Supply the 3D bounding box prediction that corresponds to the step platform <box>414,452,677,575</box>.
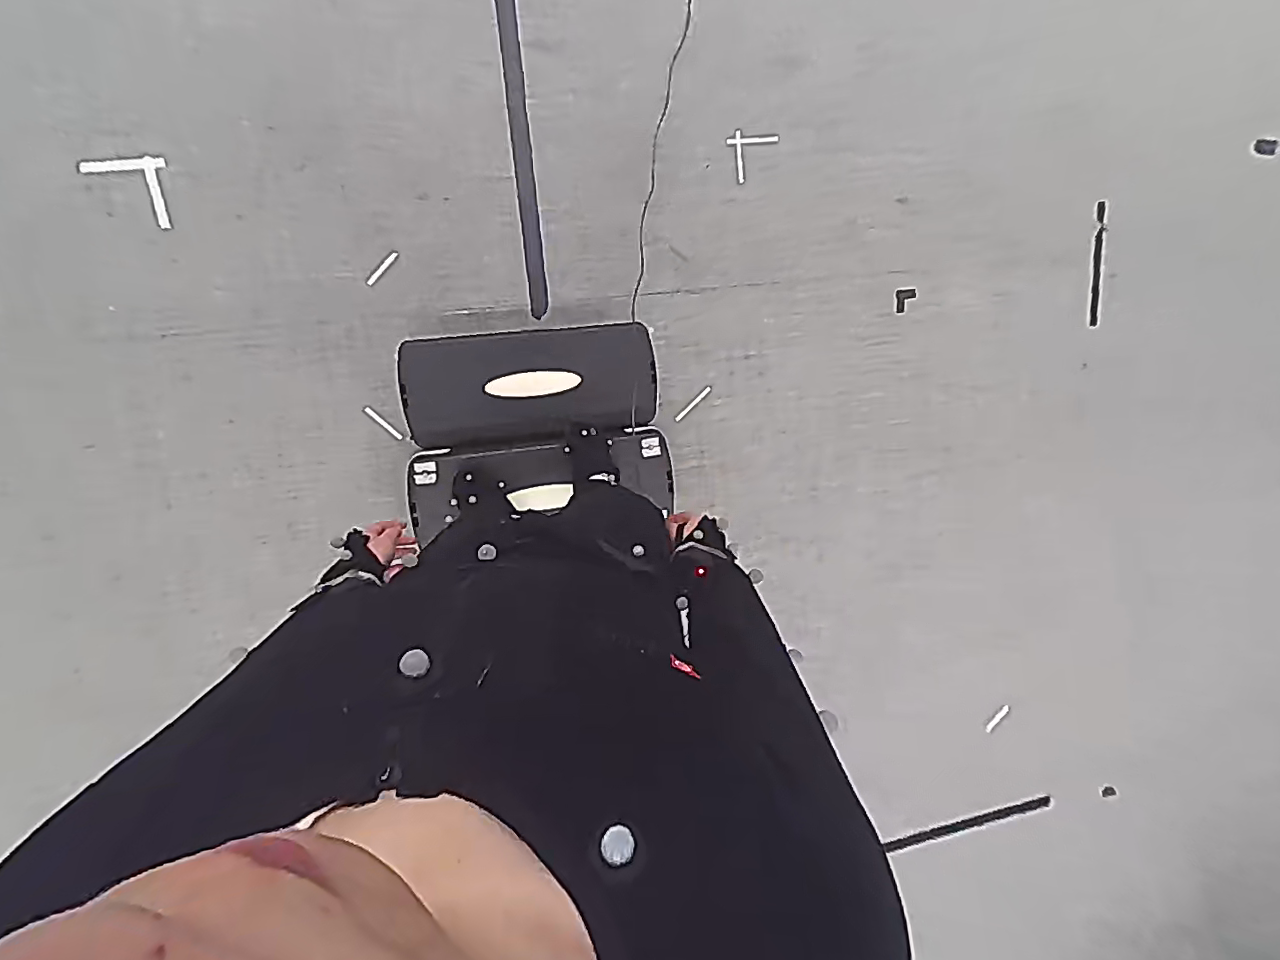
[{"bbox_3d":[-0.242,0.082,1.460,0.684,0.204,0.286,-3,97,-9],"label":"step platform"}]
